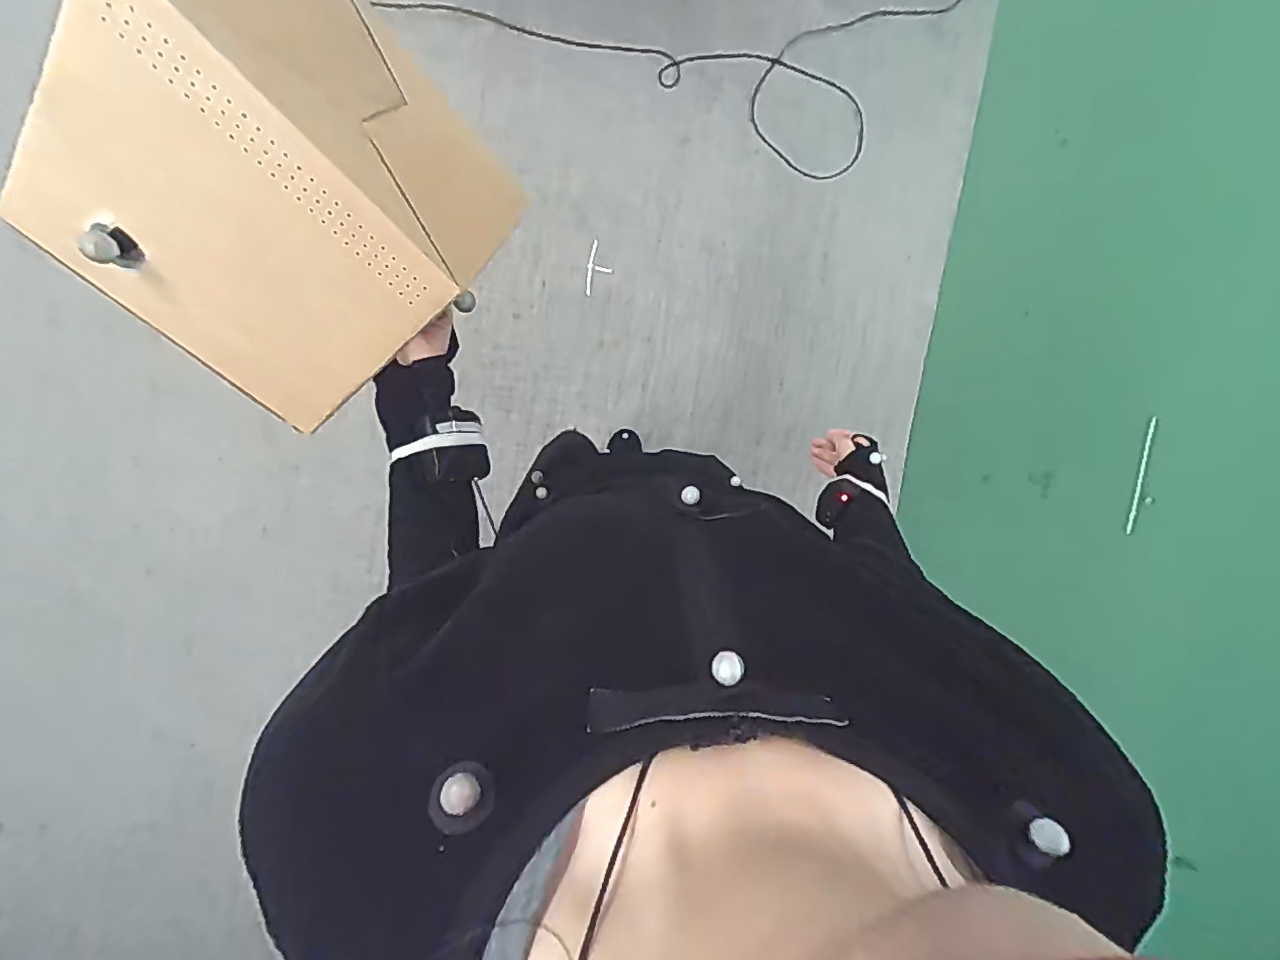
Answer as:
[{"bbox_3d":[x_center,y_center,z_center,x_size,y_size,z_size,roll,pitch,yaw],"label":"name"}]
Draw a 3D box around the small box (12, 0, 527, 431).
[{"bbox_3d":[-0.202,-0.171,0.340,0.176,0.168,0.179,-29,123,29],"label":"small box"}]
